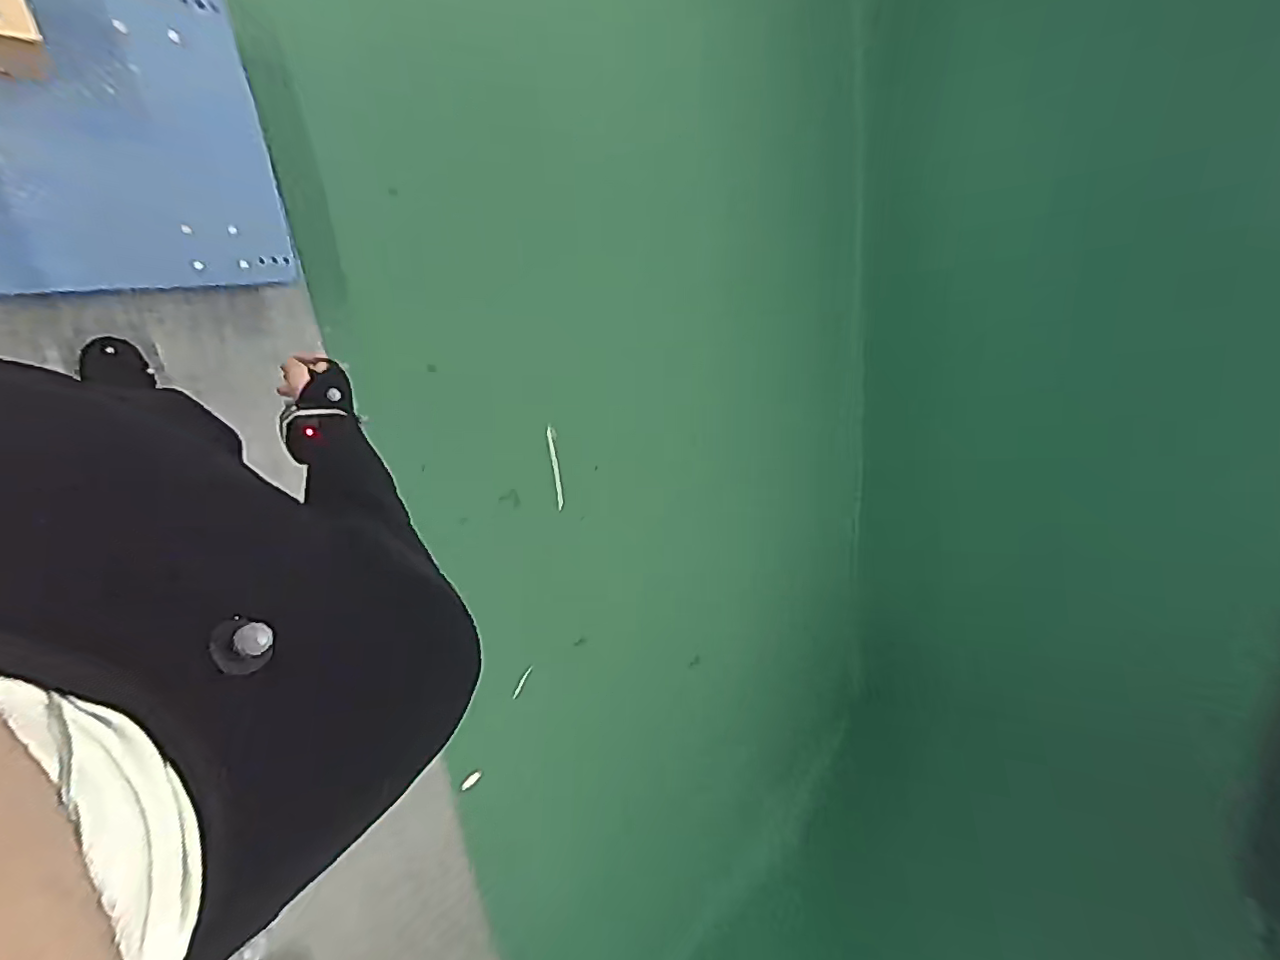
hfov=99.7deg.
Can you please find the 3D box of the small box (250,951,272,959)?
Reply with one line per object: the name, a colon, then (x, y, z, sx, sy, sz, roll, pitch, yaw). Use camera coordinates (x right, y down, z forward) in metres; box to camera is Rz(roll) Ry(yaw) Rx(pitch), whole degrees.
small box: (-1.090, 1.469, 1.483, 0.179, 0.176, 0.168, -16, 108, -41)
